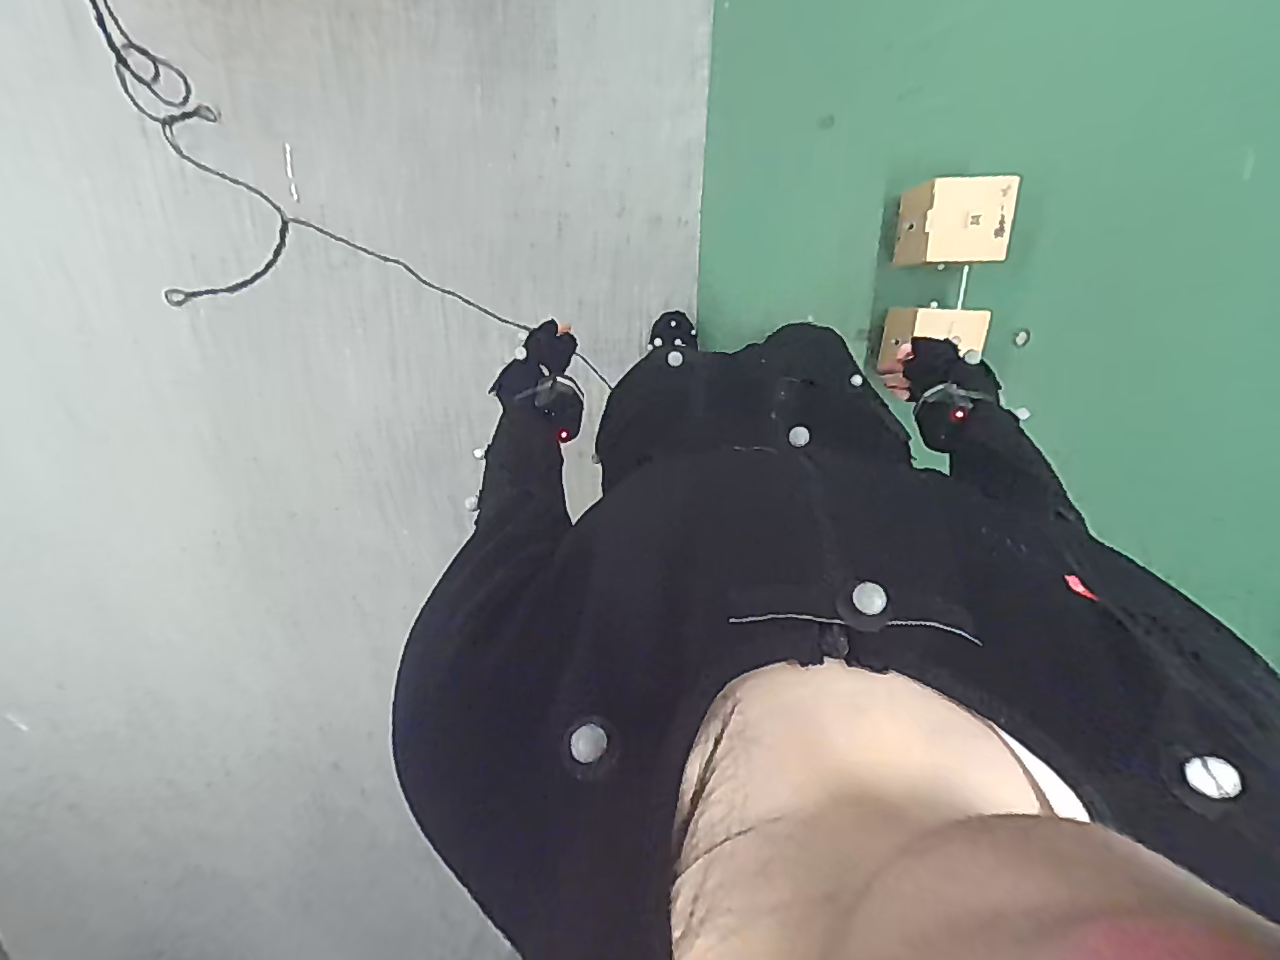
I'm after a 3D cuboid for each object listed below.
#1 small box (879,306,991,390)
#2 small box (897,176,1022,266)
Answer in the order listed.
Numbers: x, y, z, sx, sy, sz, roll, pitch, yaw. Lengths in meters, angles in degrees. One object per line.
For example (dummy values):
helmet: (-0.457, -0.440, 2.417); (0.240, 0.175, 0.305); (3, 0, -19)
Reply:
small box: (0.698, -0.322, 1.304); (0.168, 0.176, 0.179); (3, 108, 0)
small box: (0.705, -0.575, 1.218); (0.179, 0.176, 0.168); (1, 109, 3)
